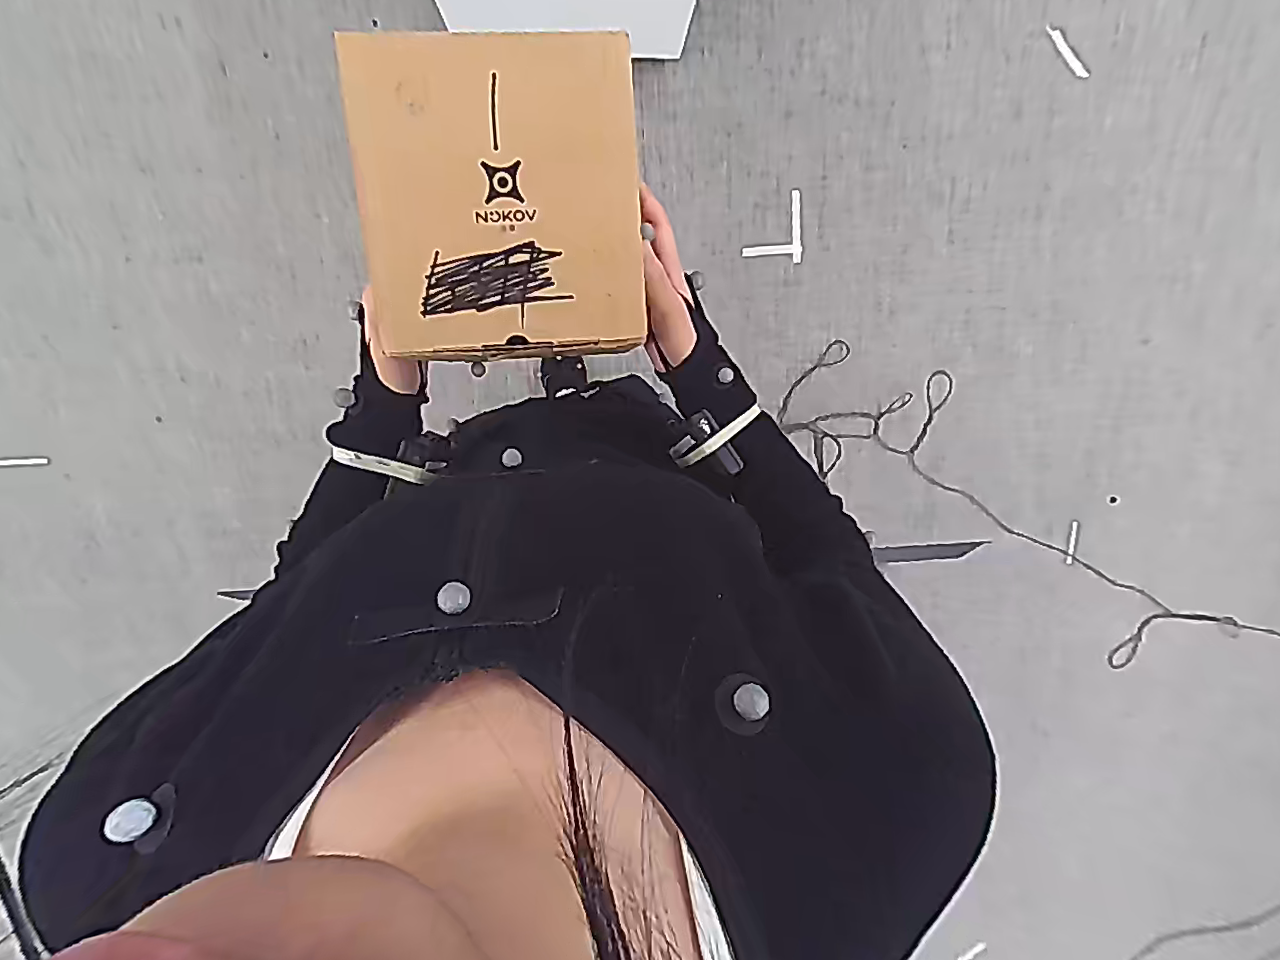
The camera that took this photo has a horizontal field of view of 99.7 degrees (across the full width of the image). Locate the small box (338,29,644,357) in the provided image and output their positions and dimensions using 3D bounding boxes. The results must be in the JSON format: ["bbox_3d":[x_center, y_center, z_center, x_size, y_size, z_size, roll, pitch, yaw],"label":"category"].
[{"bbox_3d":[-0.089,-0.182,0.398,0.168,0.176,0.179,-5,101,-6],"label":"small box"}]
